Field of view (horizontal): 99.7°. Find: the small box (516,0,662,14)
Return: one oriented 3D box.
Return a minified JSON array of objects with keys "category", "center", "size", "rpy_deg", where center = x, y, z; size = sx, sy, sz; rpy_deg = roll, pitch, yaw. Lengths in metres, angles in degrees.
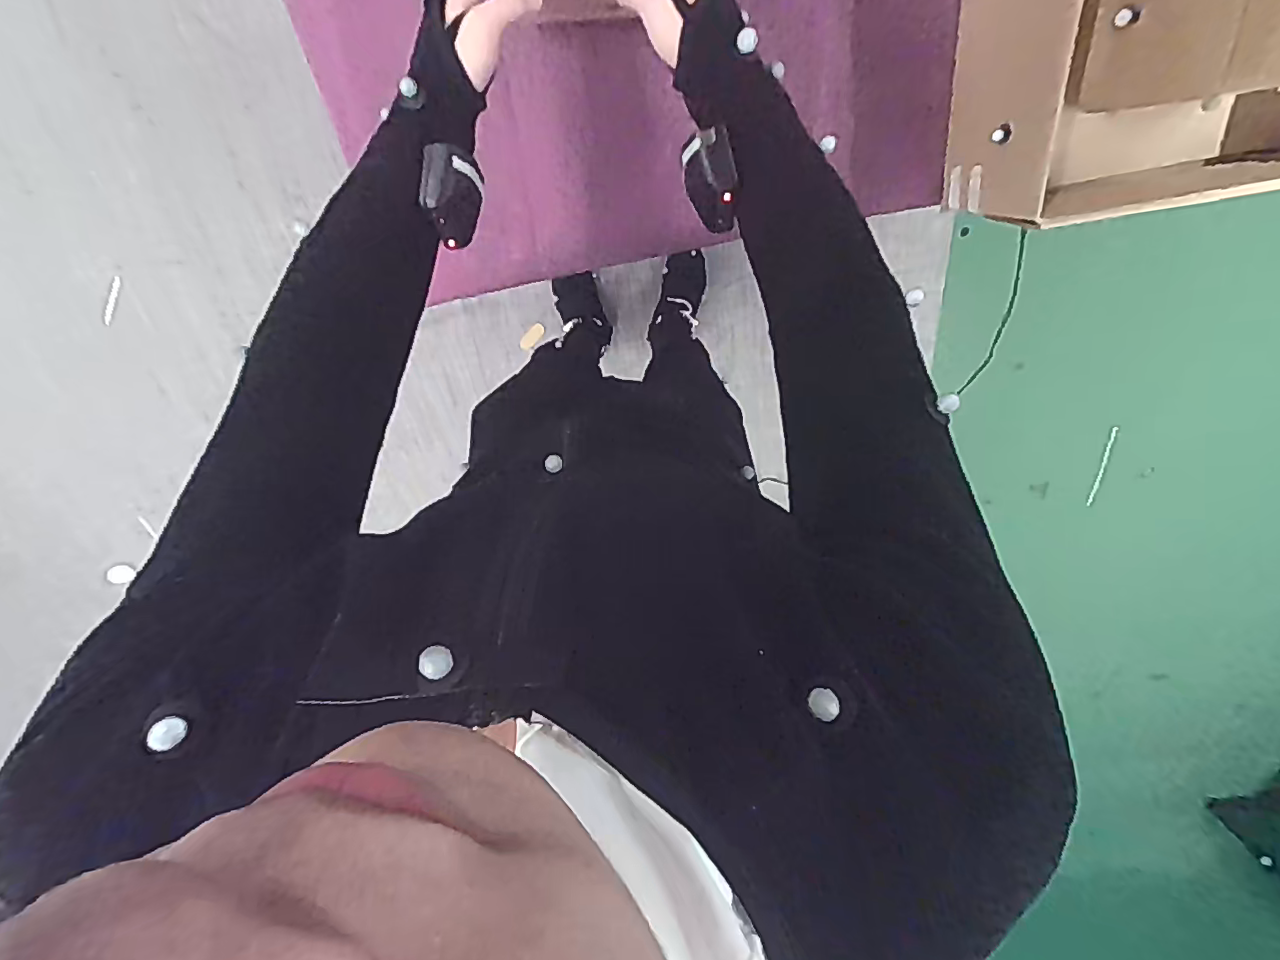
[{"category":"small box","center":[-0.054,-0.562,0.494],"size":[0.168,0.176,0.179],"rpy_deg":[-5,111,-3]}]
